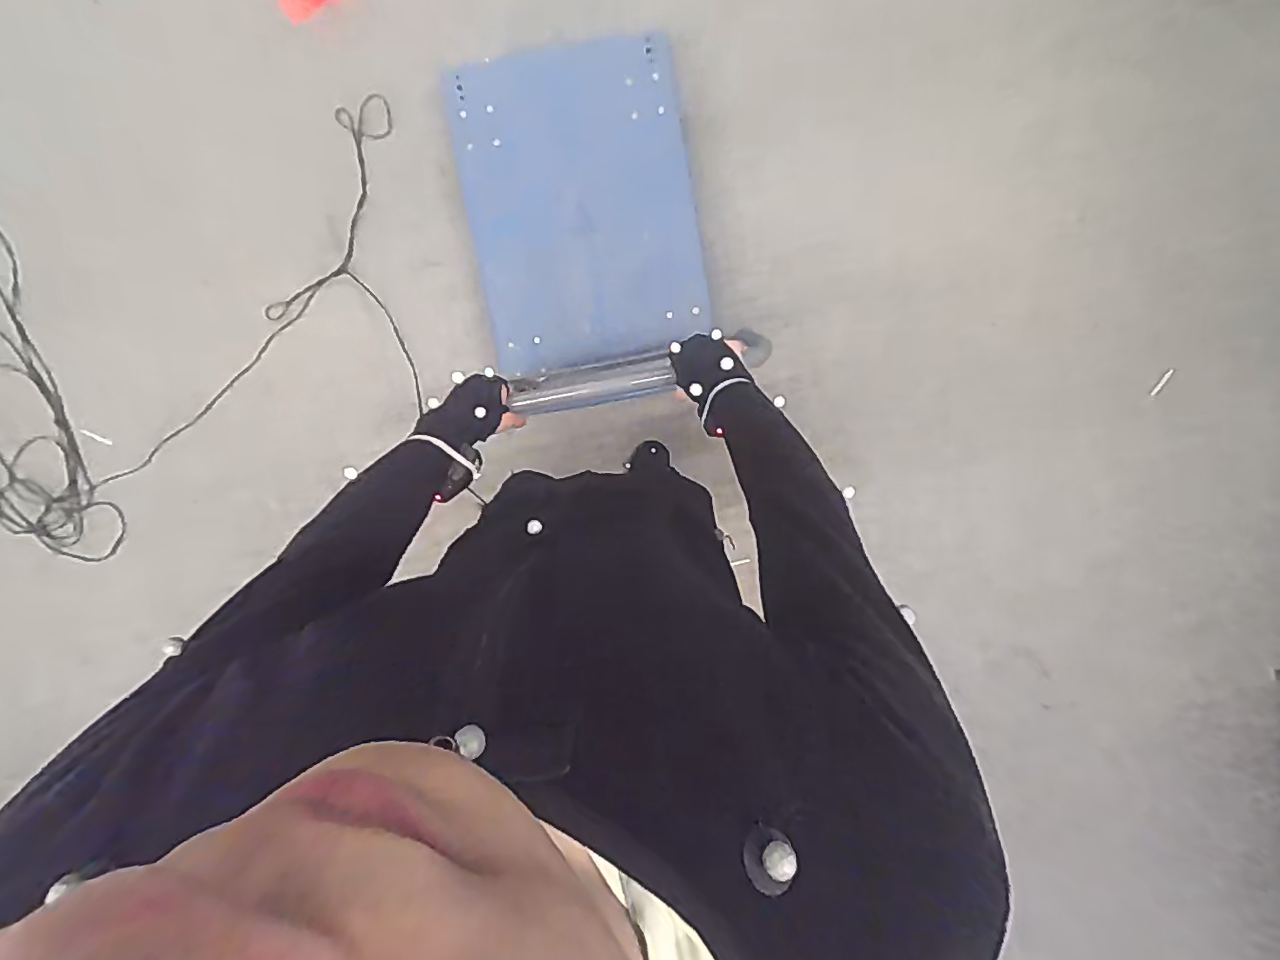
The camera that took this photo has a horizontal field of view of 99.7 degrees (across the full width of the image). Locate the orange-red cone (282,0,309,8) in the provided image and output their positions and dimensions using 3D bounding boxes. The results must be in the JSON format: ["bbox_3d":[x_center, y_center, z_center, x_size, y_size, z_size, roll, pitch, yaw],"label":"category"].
[{"bbox_3d":[-0.914,-1.378,1.280,0.199,0.360,0.198,-28,95,4],"label":"orange-red cone"}]
